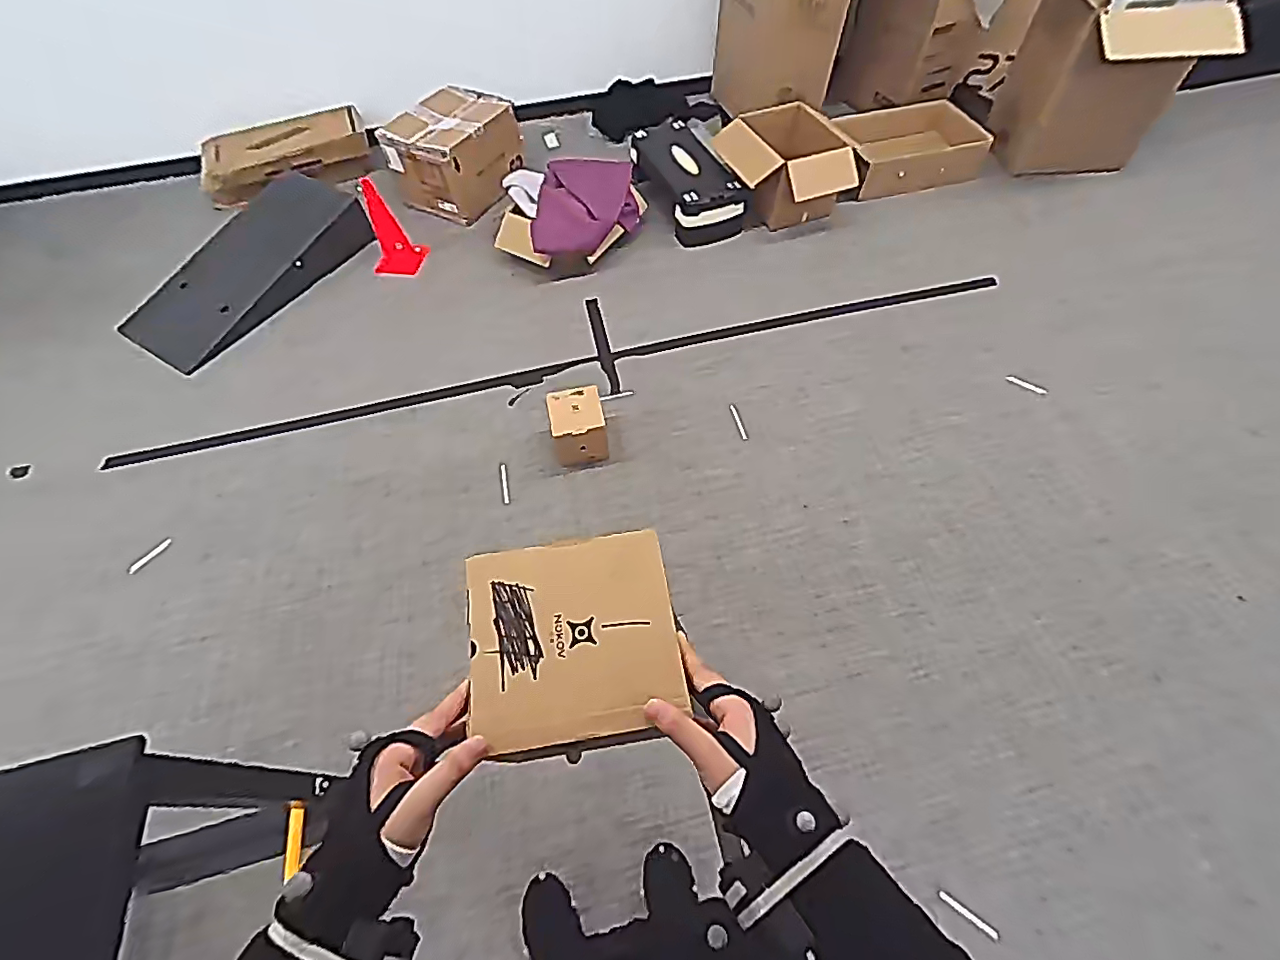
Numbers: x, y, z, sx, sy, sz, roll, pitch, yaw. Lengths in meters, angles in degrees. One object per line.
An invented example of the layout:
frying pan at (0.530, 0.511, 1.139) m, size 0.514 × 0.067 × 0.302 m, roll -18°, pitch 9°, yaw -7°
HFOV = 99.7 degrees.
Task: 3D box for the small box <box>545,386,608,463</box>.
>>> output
small box at (-0.200, -0.171, 1.736) m, size 0.168 × 0.176 × 0.179 m, roll -11°, pitch 59°, yaw -4°

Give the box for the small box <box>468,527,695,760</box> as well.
small box at (-0.052, 0.162, 0.516) m, size 0.179 × 0.176 × 0.168 m, roll -8°, pitch 62°, yaw -4°
